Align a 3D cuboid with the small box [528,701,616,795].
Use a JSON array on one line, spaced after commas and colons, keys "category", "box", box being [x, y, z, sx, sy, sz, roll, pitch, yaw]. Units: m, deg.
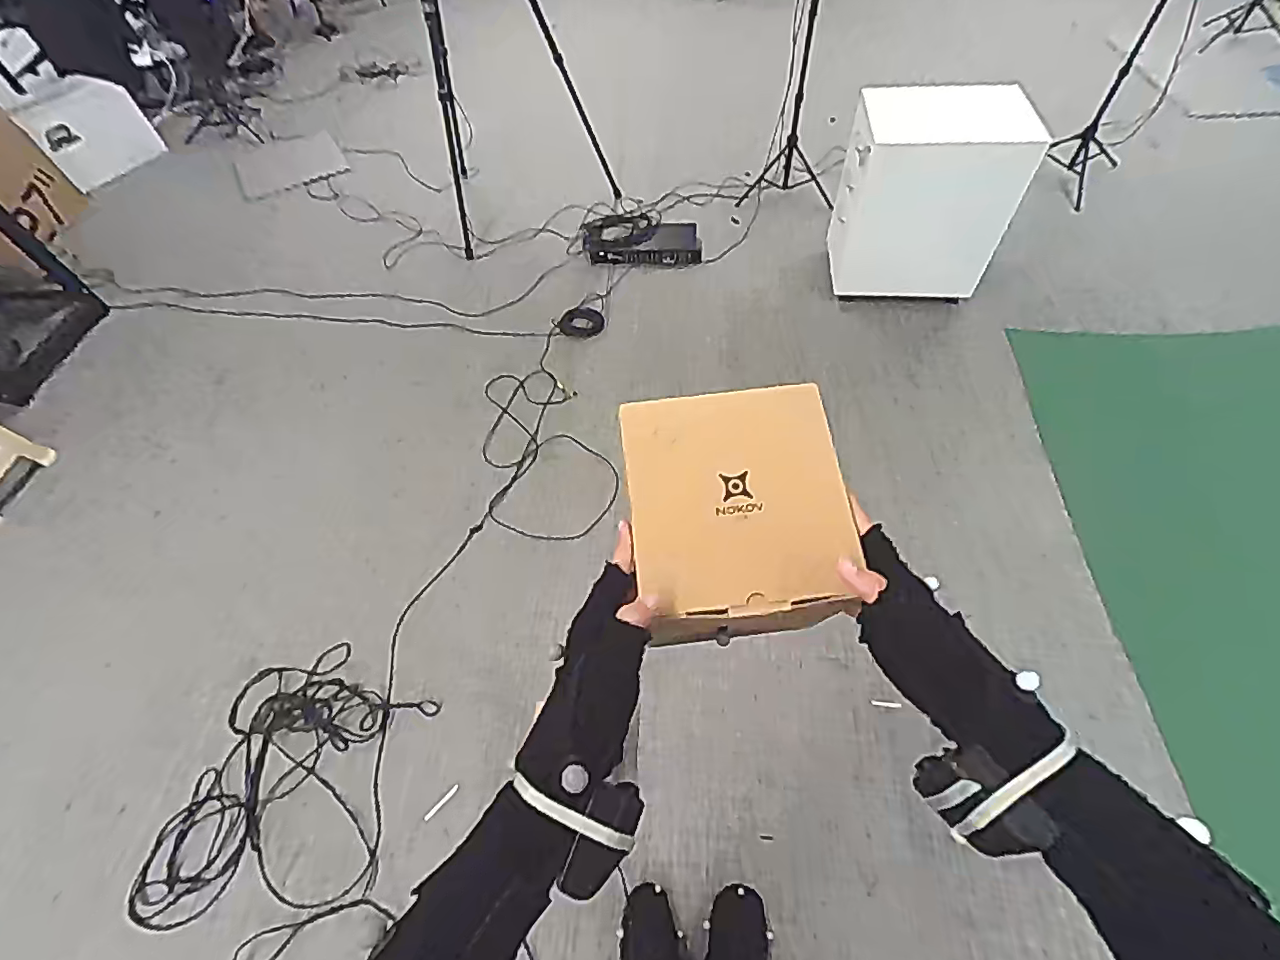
[{"category": "small box", "box": [-0.147, 0.617, 1.238, 0.168, 0.176, 0.179, -1, 56, 4]}]
